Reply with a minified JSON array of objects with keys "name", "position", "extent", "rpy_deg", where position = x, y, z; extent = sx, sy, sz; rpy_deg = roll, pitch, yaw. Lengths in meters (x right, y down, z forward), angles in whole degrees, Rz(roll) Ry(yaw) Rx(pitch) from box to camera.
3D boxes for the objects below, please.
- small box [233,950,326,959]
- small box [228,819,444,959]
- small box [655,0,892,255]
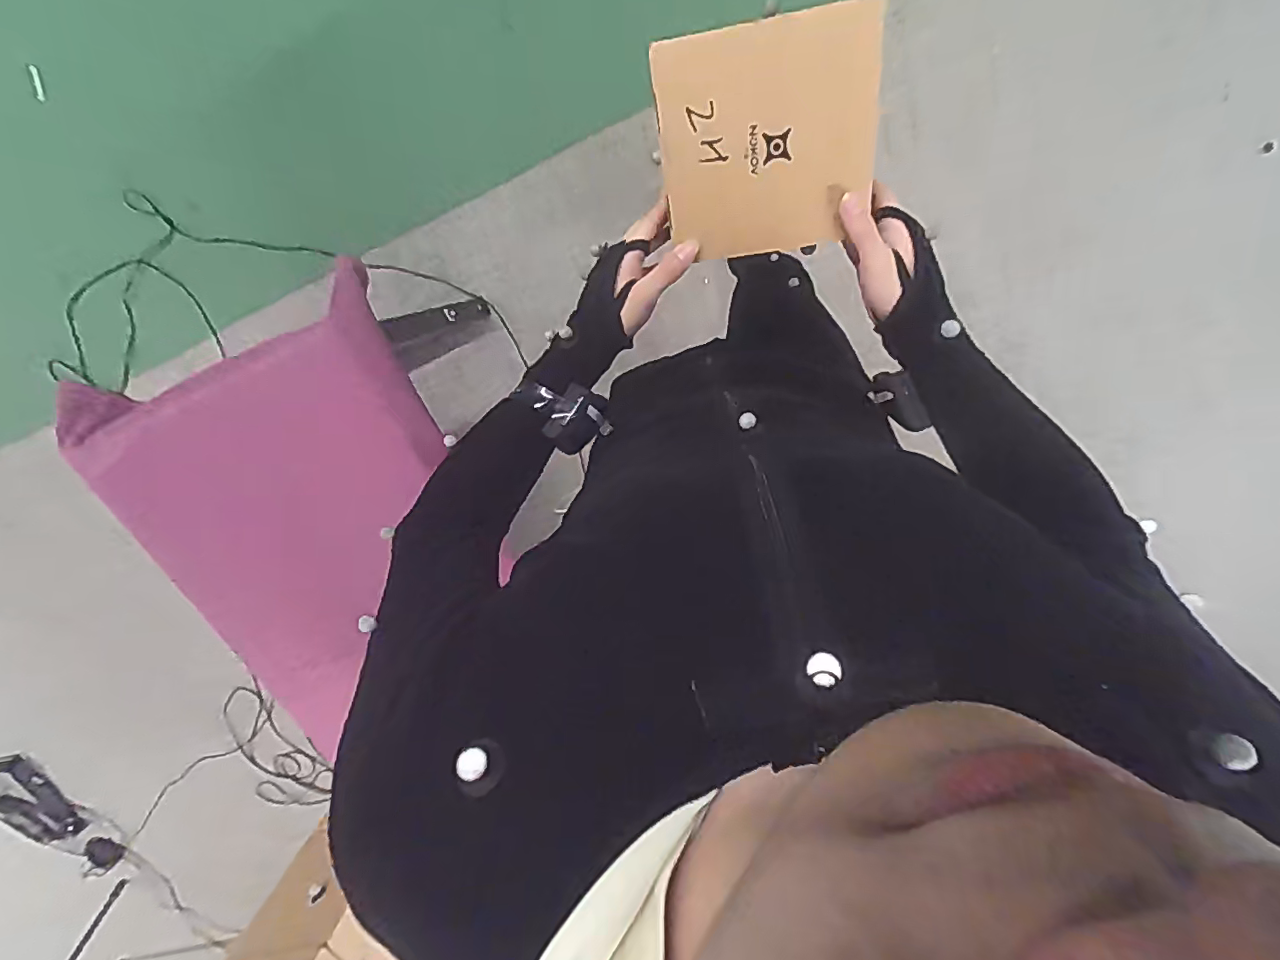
[{"name":"small box","position":[-0.408,0.658,0.581],"extent":[0.168,0.176,0.179],"rpy_deg":[-22,107,15]},{"name":"small box","position":[-0.394,0.600,0.734],"extent":[0.179,0.176,0.168],"rpy_deg":[-22,107,14]},{"name":"small box","position":[0.115,-0.327,0.506],"extent":[0.179,0.176,0.168],"rpy_deg":[-5,123,11]}]
